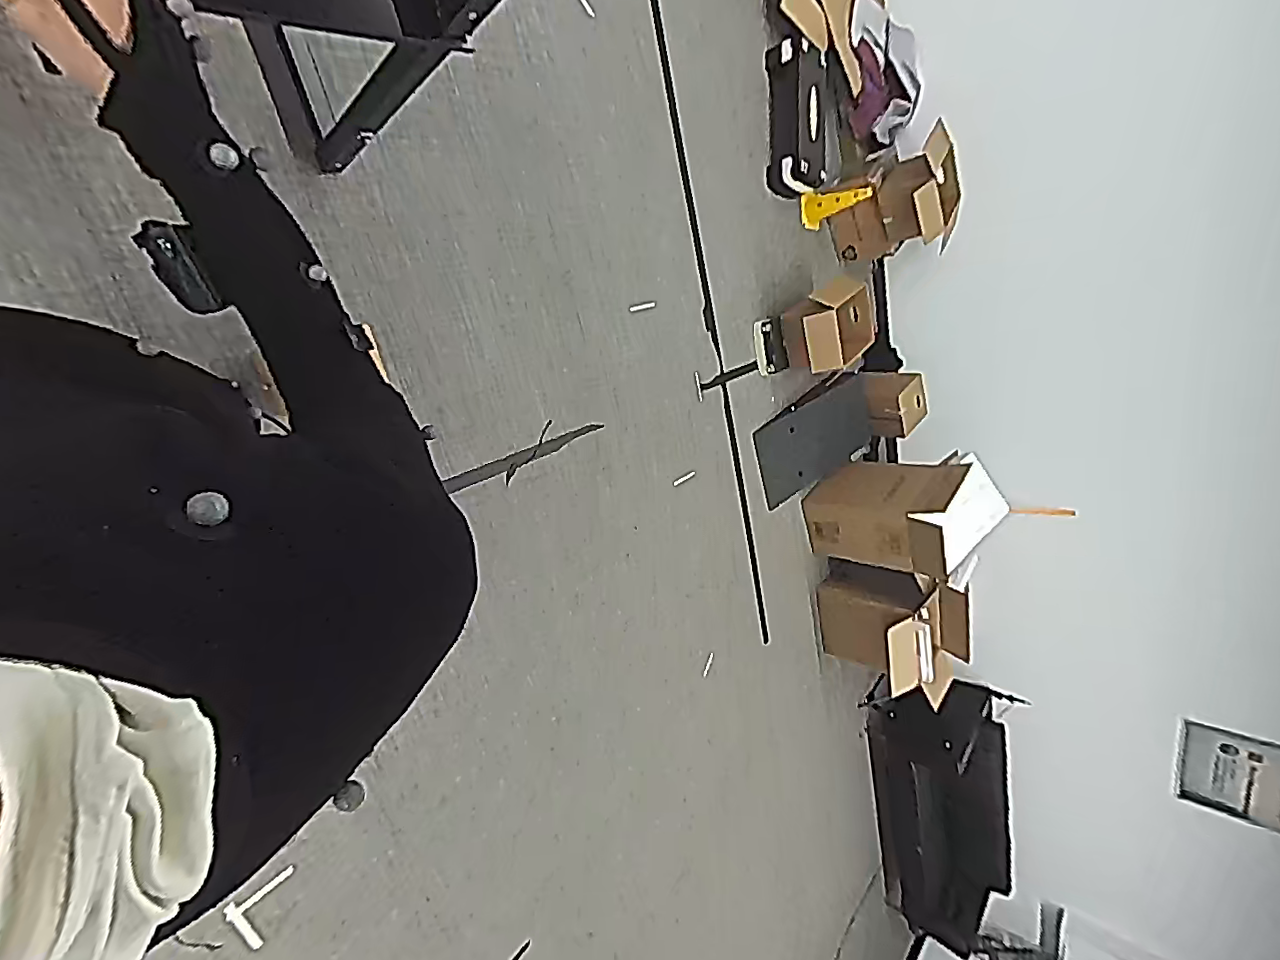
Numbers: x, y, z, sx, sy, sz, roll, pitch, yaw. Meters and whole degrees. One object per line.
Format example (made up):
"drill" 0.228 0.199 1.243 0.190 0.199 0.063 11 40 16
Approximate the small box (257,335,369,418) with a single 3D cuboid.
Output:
"small box" -0.831 -0.263 1.372 0.179 0.176 0.168 -30 115 -38
